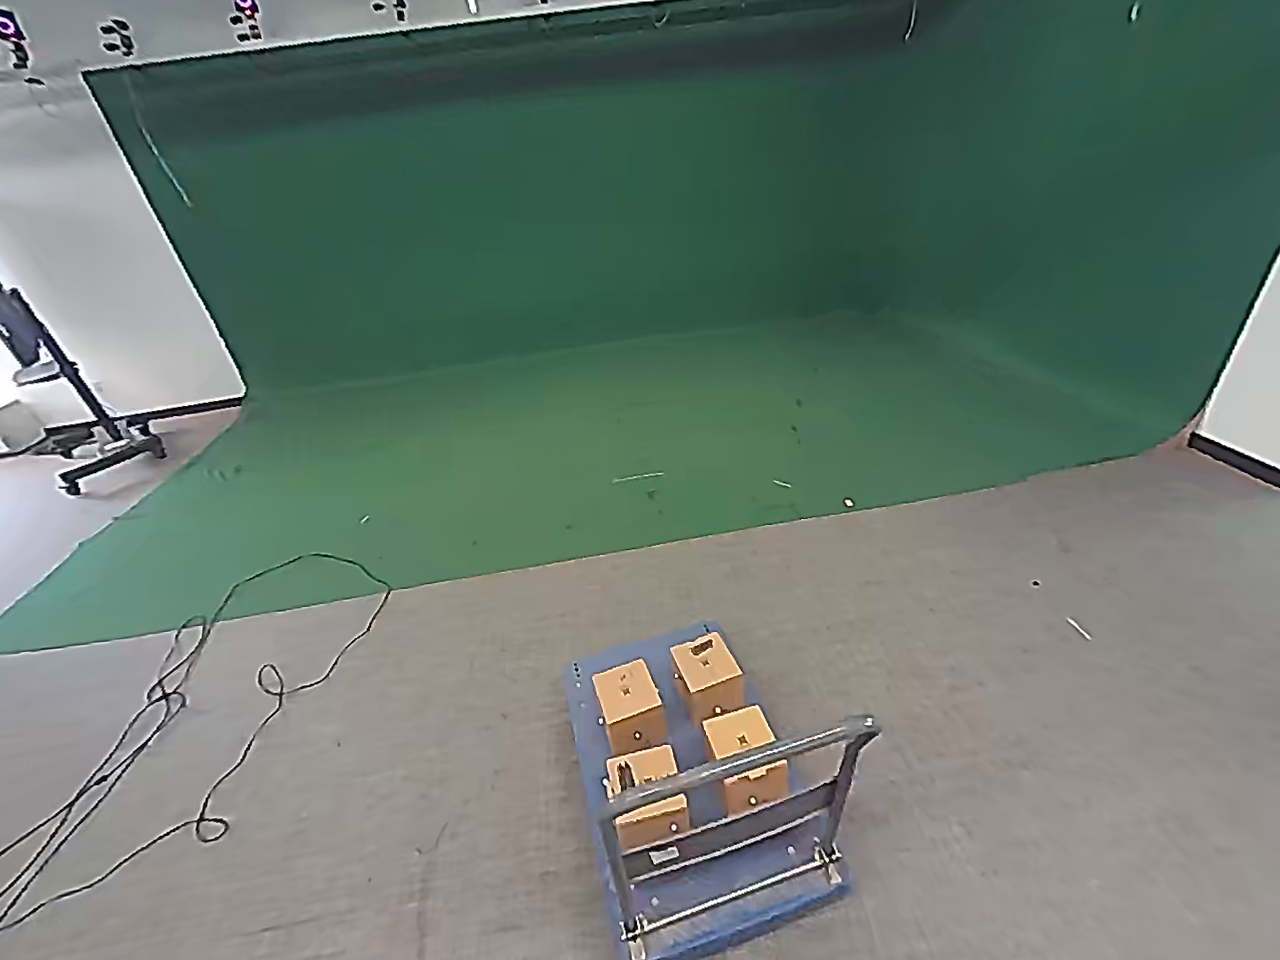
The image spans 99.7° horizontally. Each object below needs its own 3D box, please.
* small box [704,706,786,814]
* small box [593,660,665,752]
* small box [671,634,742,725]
[{"bbox_3d":[0.277,0.753,1.458,0.168,0.176,0.179,-13,33,-9],"label":"small box"},{"bbox_3d":[-0.031,0.685,1.625,0.168,0.176,0.179,-15,33,-13],"label":"small box"},{"bbox_3d":[0.205,0.618,1.681,0.168,0.176,0.179,-16,34,-12],"label":"small box"}]
